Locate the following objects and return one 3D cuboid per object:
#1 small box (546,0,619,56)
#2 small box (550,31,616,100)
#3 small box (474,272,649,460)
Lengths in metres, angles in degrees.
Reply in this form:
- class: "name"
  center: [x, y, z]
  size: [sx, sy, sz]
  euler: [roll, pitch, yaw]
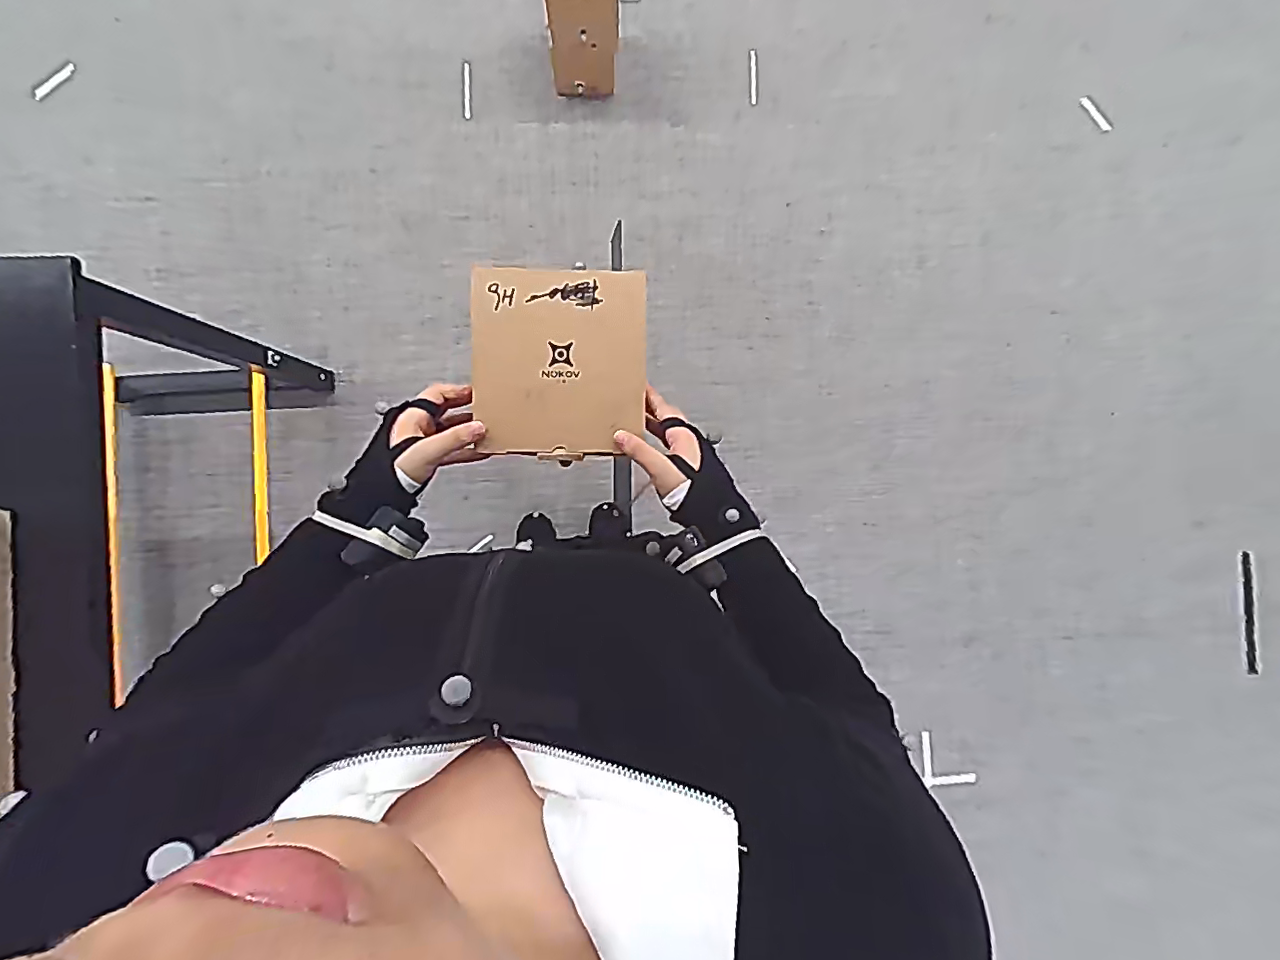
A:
- class: "small box"
  center: [-0.132, -1.143, 1.260]
  size: [0.168, 0.176, 0.179]
  euler: [-1, 90, -2]
- class: "small box"
  center: [-0.148, -1.150, 1.425]
  size: [0.168, 0.176, 0.179]
  euler: [-1, 91, -2]
- class: "small box"
  center: [-0.078, -0.116, 0.593]
  size: [0.168, 0.176, 0.179]
  euler: [0, 96, -4]
